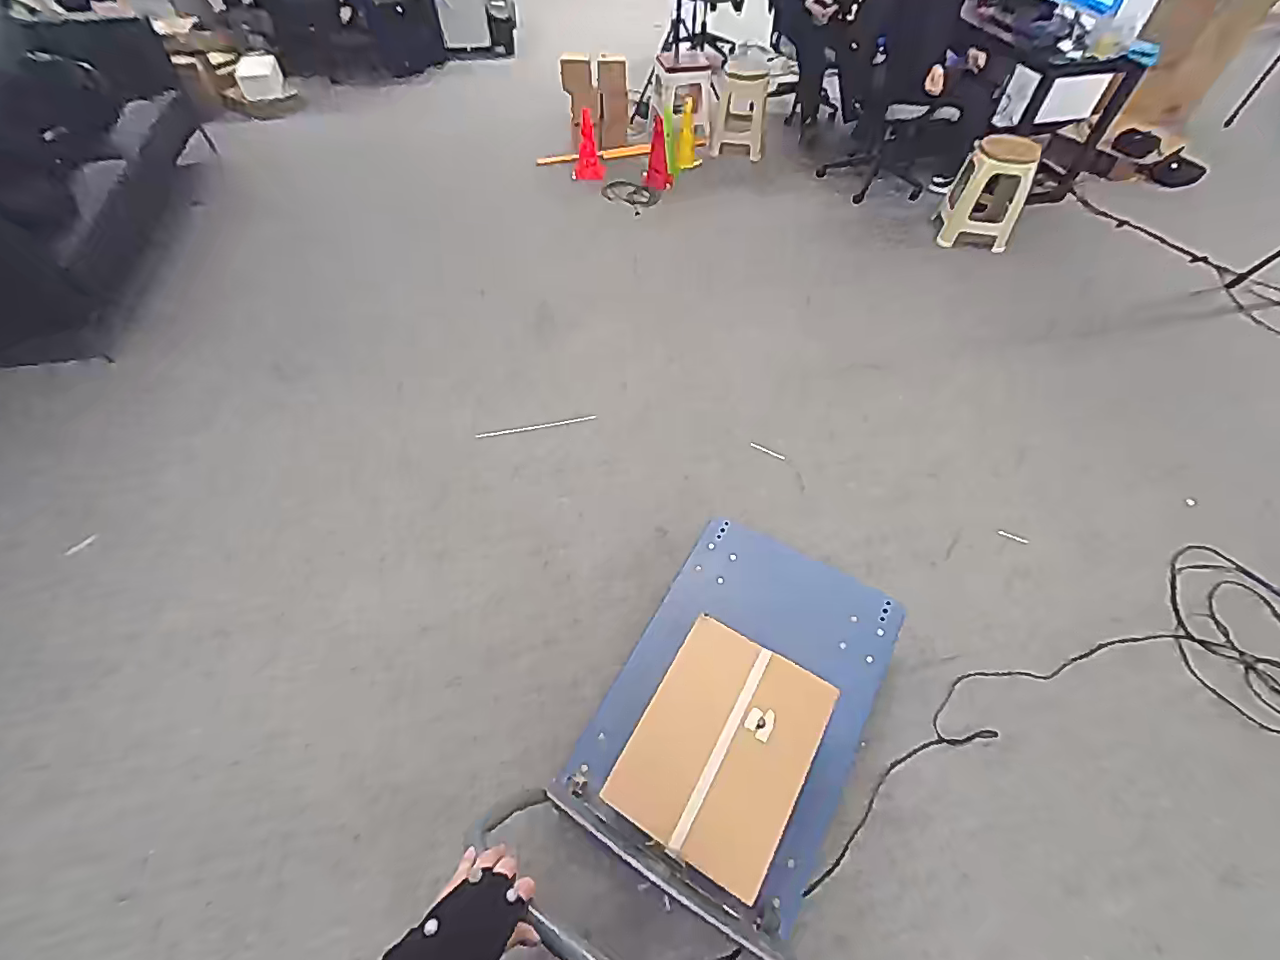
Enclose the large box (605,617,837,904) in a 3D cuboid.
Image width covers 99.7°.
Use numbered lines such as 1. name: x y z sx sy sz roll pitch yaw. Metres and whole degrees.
1. large box: 0.170 0.579 1.153 0.320 0.320 0.408 26 64 18
